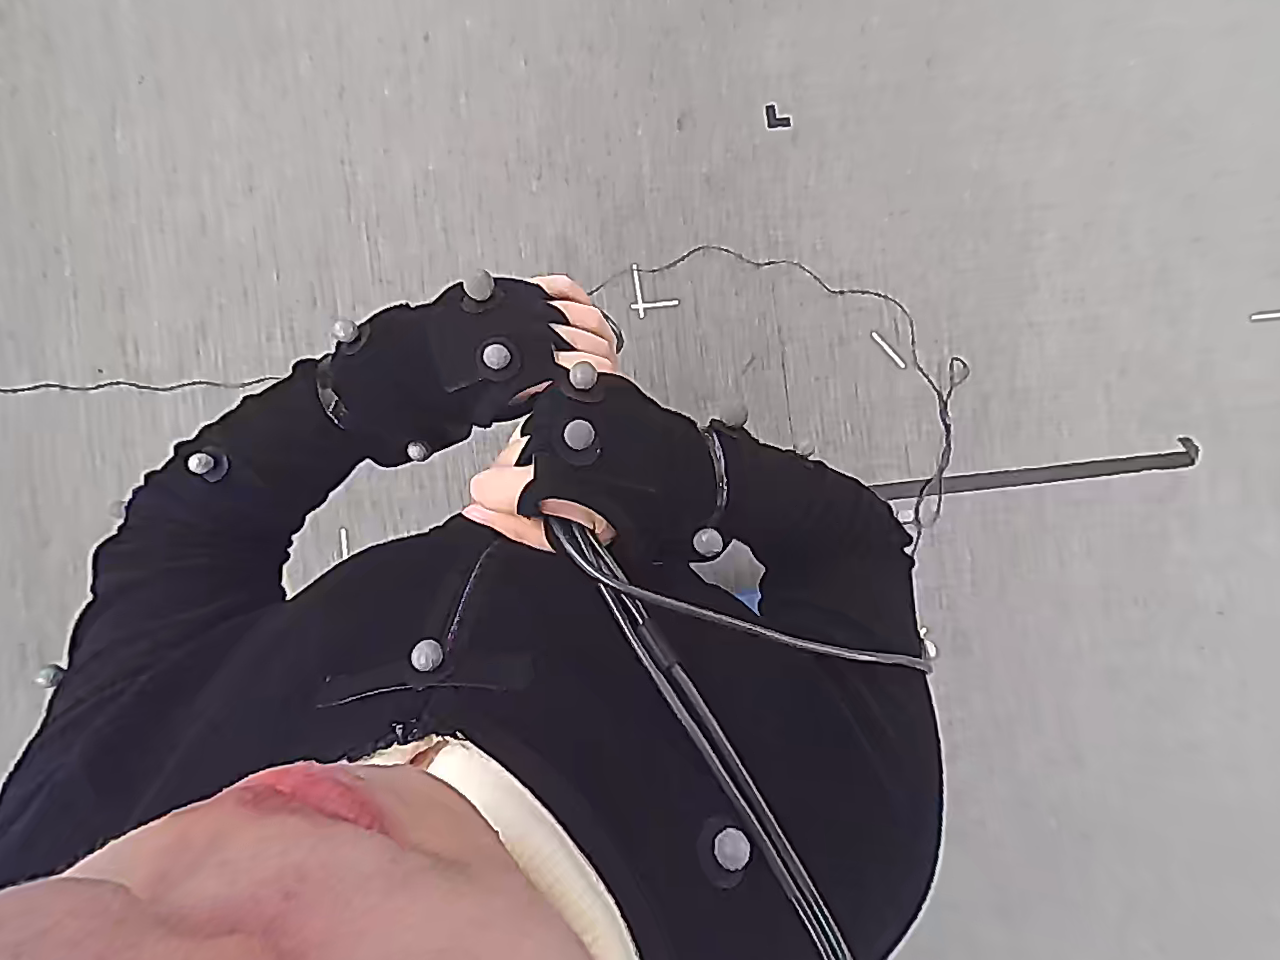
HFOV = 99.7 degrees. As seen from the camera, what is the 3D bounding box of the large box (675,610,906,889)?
[{"bbox_3d":[0.306,0.558,1.202,0.320,0.320,0.408,-19,92,-5],"label":"large box"}]
